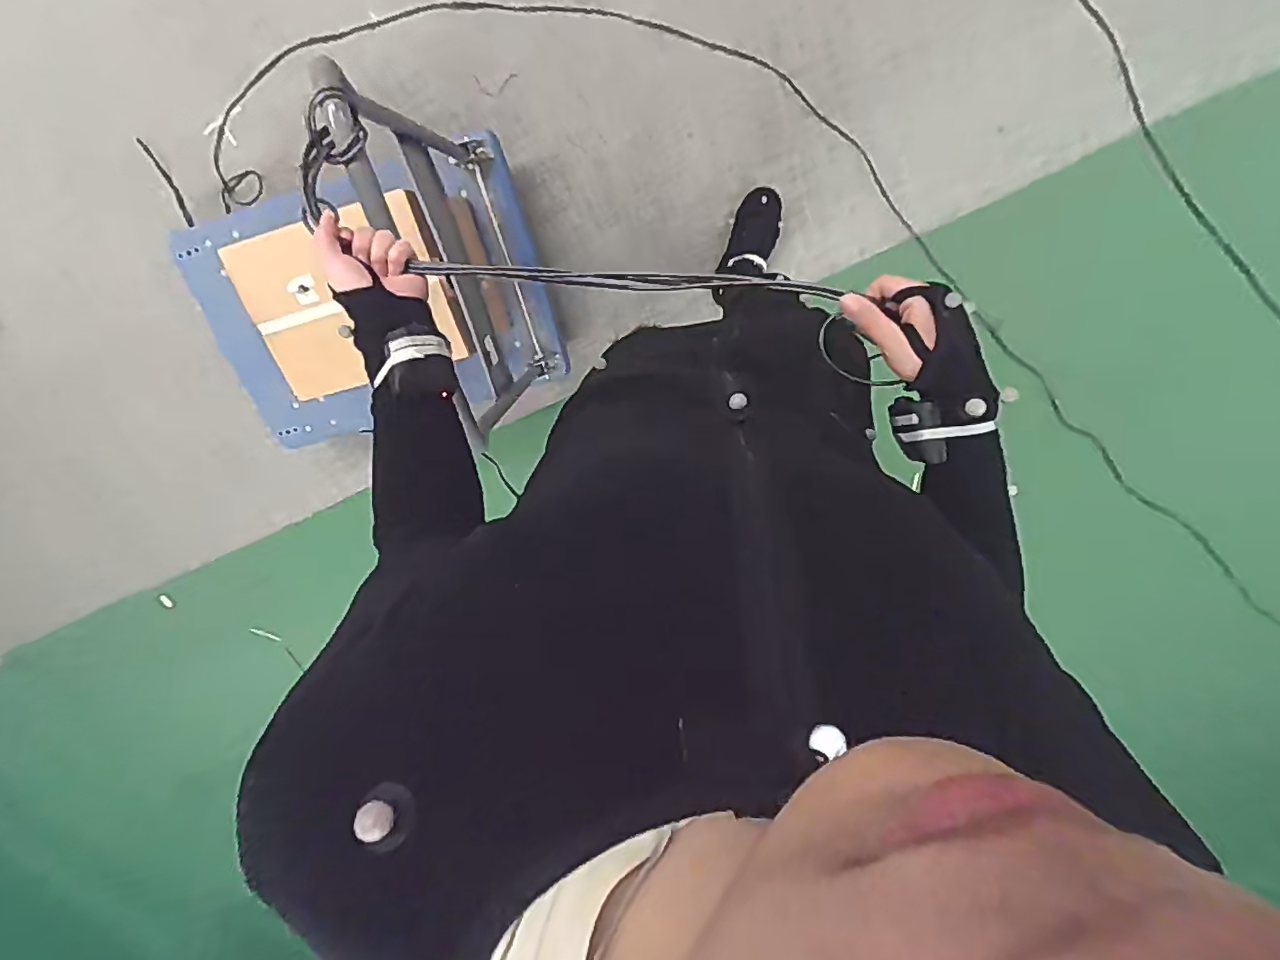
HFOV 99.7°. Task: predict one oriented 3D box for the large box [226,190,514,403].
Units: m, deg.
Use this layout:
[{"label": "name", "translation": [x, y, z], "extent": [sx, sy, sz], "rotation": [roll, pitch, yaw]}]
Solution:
[{"label": "large box", "translation": [-0.551, -0.404, 1.186], "extent": [0.408, 0.320, 0.320], "rotation": [-12, 112, 11]}]
